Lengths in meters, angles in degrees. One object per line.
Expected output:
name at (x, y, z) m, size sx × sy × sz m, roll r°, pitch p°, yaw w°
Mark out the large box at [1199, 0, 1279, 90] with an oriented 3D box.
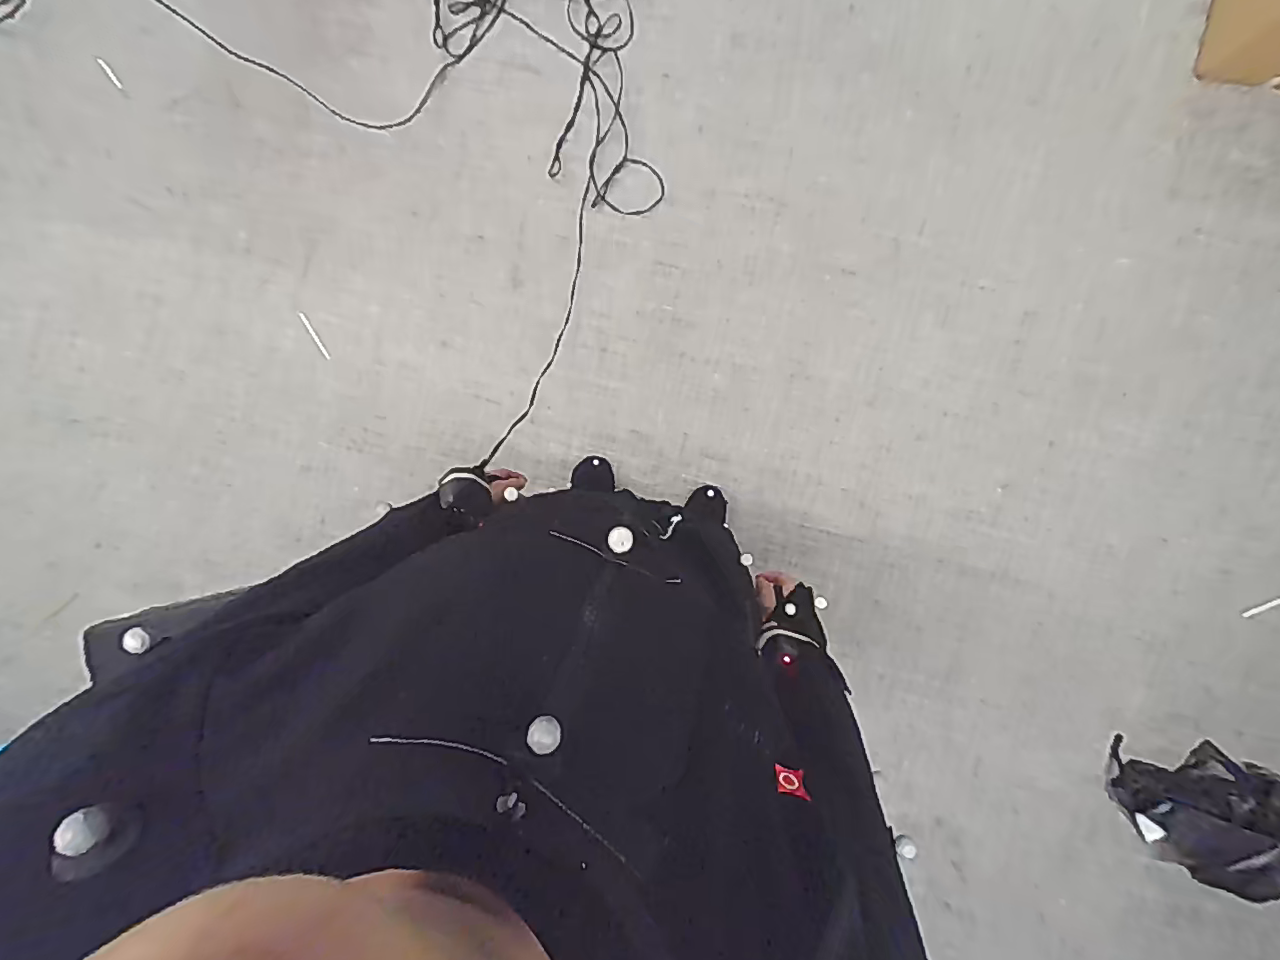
large box at (1.432, -1.071, 1.056) m, size 0.320 × 0.320 × 0.408 m, roll 11°, pitch 95°, yaw 5°
